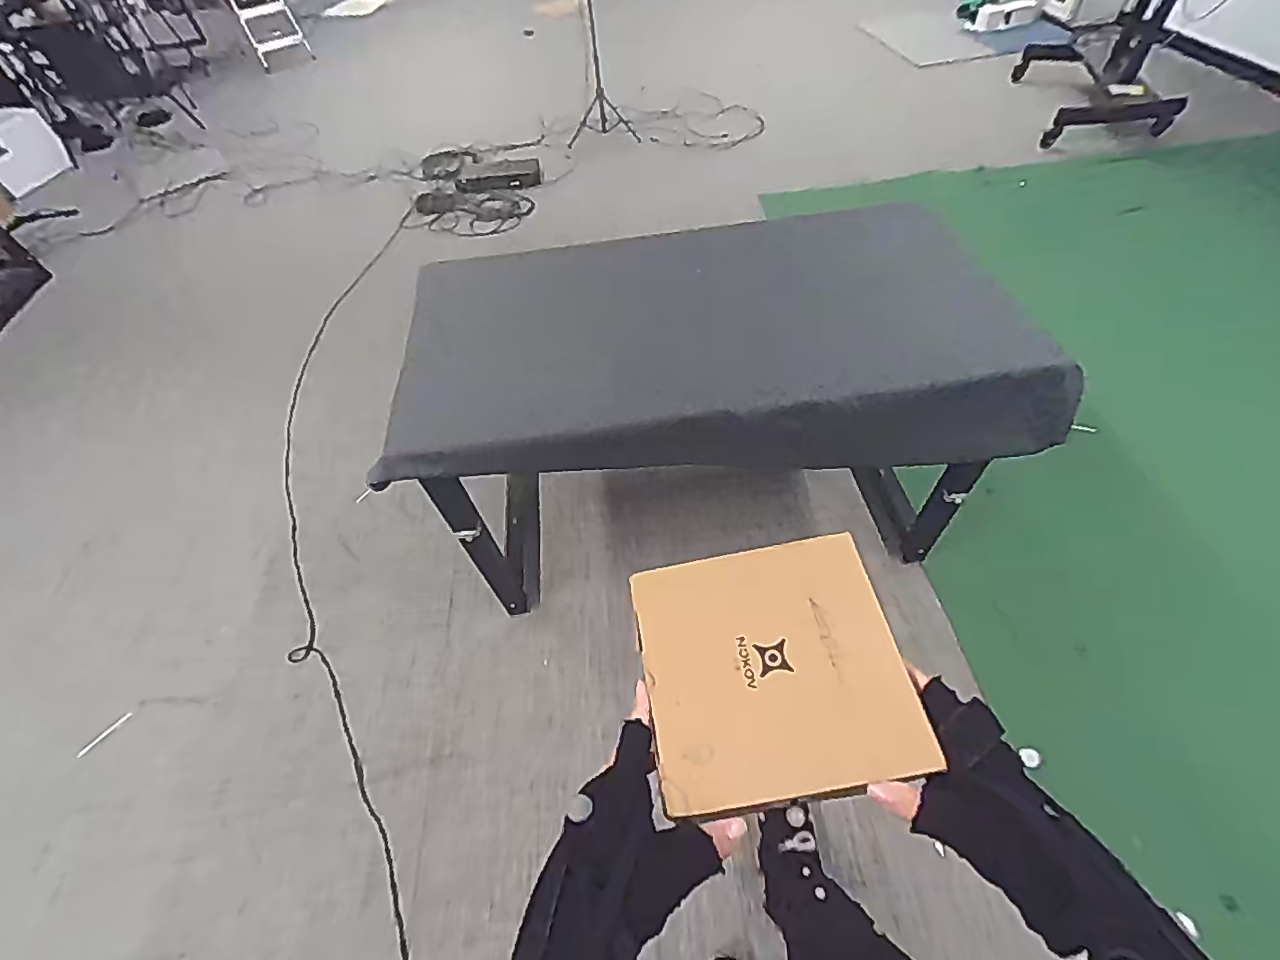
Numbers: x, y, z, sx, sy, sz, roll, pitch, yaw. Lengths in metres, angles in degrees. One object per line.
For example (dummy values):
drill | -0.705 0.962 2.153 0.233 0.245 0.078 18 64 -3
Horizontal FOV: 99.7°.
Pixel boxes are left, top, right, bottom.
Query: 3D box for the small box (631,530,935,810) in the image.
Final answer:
small box | 0.099 0.165 0.449 0.179 0.176 0.168 -11 58 -1
